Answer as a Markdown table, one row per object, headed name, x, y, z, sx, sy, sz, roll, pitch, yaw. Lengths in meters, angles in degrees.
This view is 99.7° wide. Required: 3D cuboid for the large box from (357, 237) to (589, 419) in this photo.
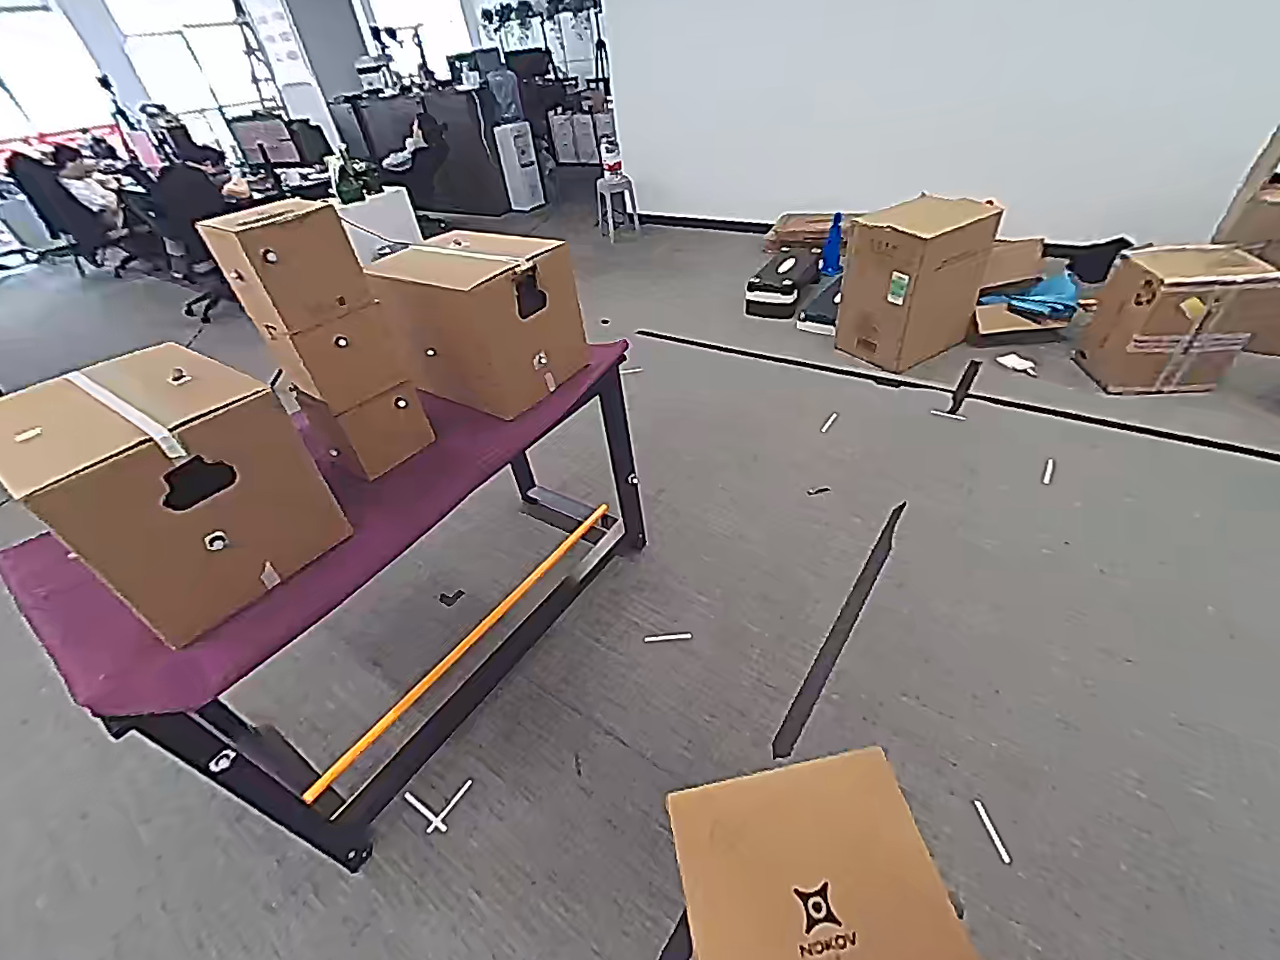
| name | x | y | z | sx | sy | sz | roll | pitch | yaw |
| --- | --- | --- | --- | --- | --- | --- | --- | --- | --- |
| large box | -0.392 | -0.389 | 1.340 | 0.408 | 0.320 | 0.320 | 19 | 45 | 30 |
